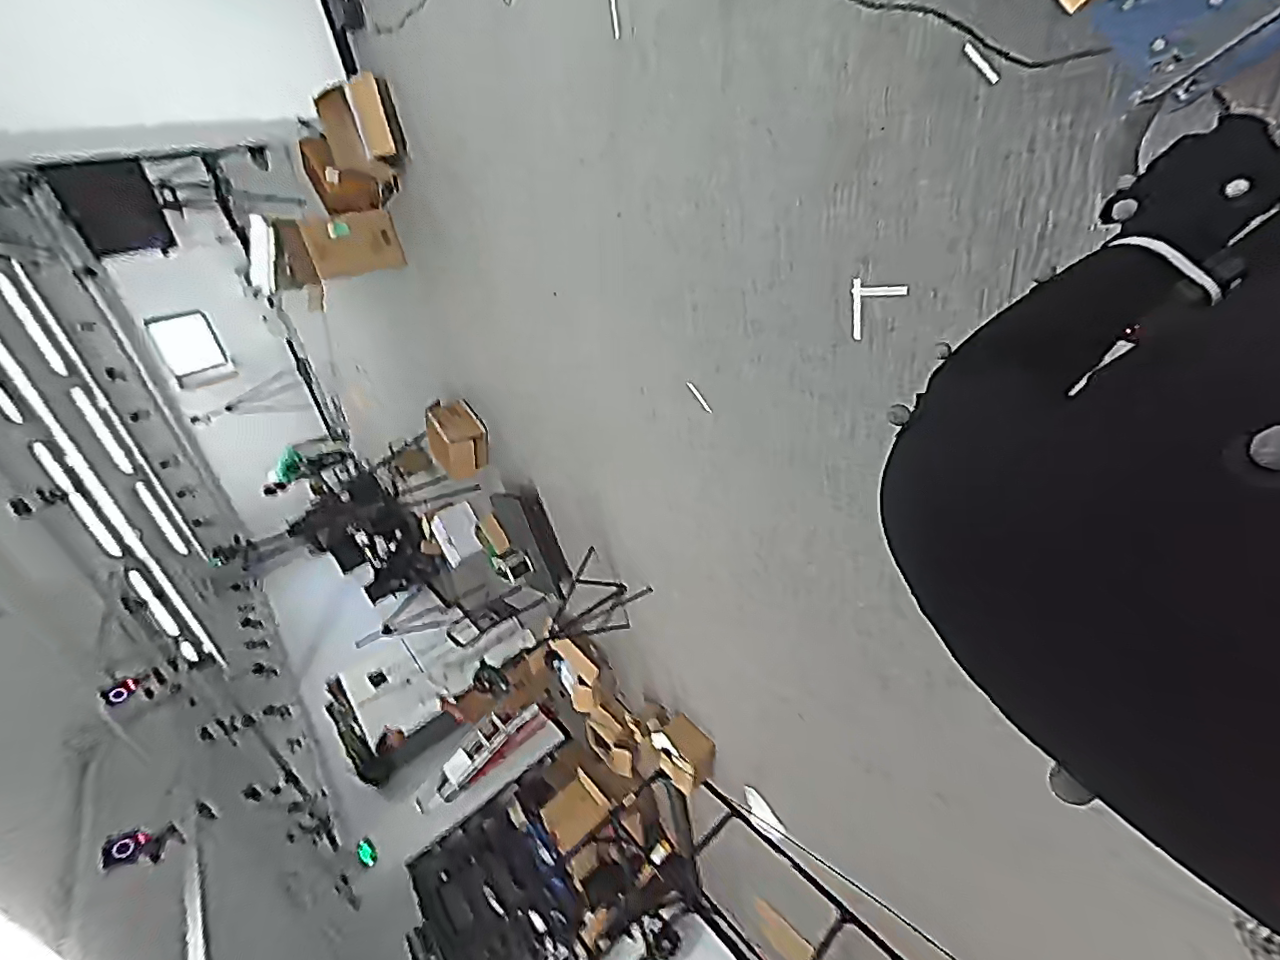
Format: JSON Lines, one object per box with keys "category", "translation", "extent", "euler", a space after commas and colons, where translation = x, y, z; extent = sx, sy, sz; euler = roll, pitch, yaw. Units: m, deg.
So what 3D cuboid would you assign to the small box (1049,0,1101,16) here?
{"category": "small box", "translation": [0.652, -0.800, 0.749], "extent": [0.168, 0.176, 0.179], "euler": [52, 147, 0]}
